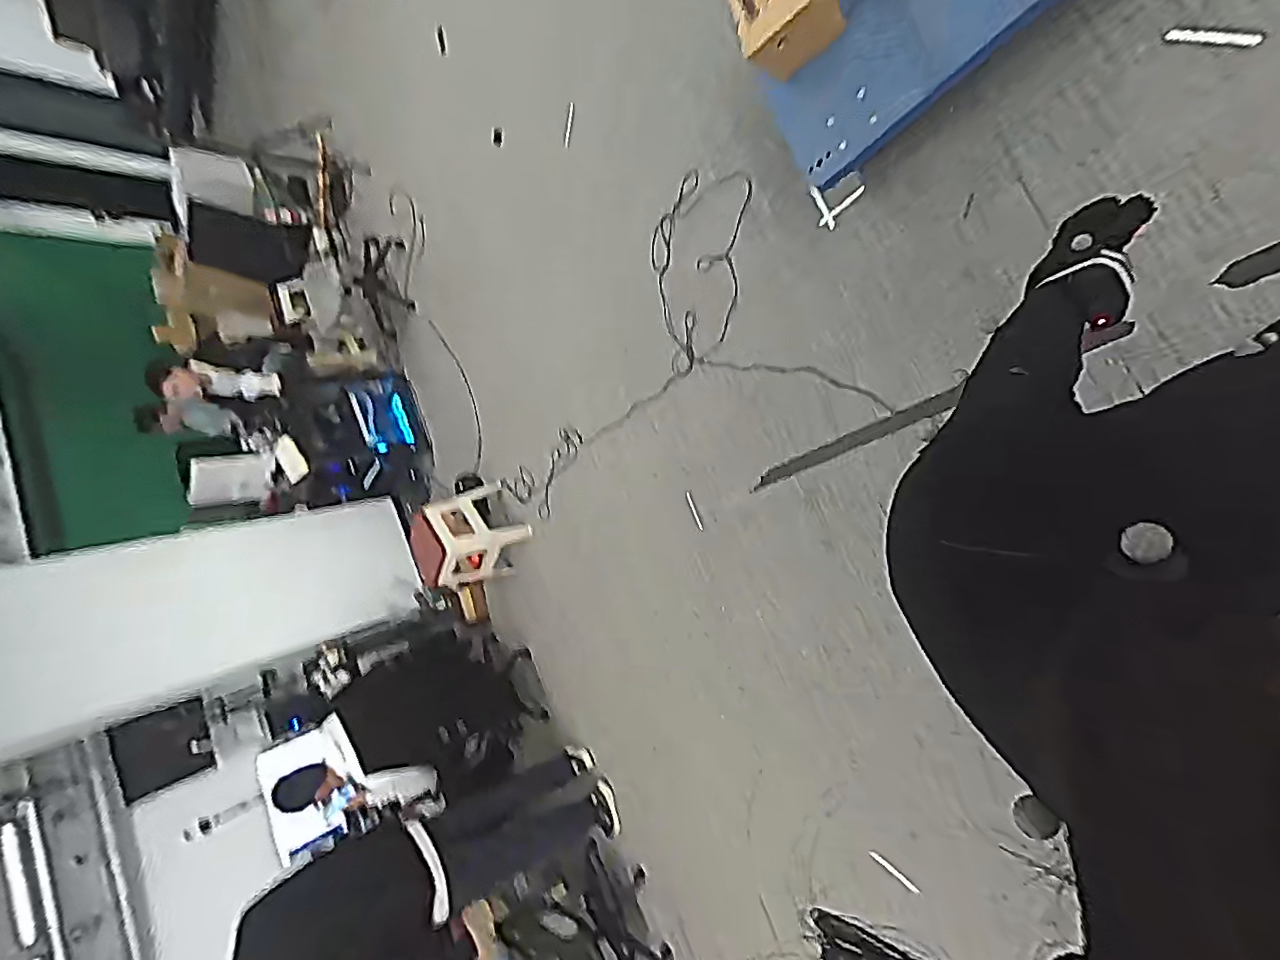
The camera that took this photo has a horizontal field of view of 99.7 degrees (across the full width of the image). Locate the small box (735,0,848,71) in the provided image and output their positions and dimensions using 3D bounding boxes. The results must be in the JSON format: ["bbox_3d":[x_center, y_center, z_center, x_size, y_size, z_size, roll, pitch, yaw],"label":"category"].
[{"bbox_3d":[0.340,-1.082,1.222,0.179,0.176,0.168,-15,89,45],"label":"small box"}]
